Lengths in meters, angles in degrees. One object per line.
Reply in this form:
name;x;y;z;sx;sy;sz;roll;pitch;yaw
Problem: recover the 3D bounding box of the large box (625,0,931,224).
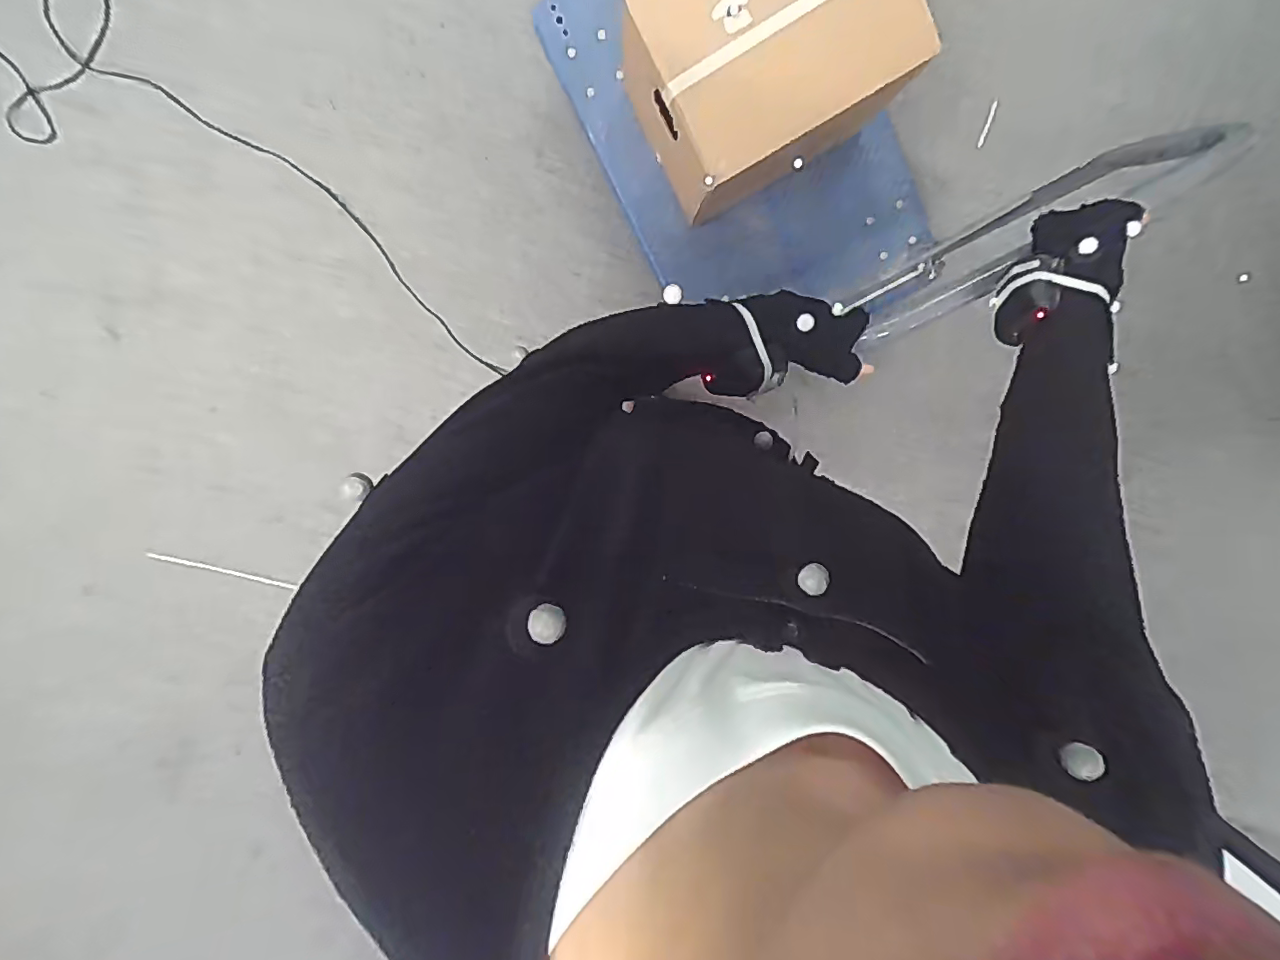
large box;0.219;-0.744;0.990;0.408;0.320;0.320;-29;101;6
